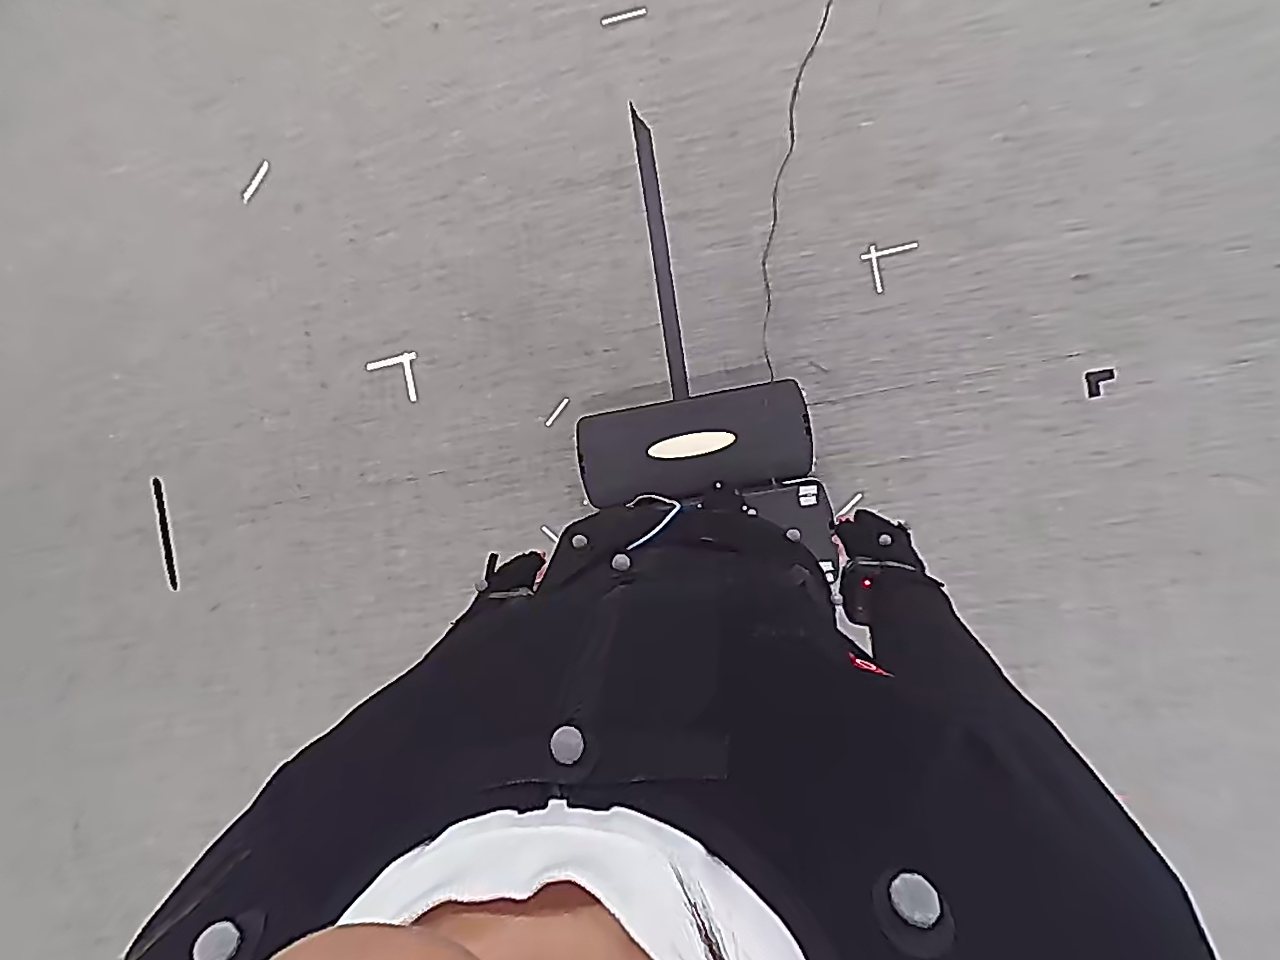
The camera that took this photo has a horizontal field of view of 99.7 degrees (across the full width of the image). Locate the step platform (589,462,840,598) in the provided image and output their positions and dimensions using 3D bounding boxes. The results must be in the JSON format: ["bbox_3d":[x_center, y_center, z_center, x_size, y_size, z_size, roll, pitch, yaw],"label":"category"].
[{"bbox_3d":[0.201,0.144,1.526,0.684,0.204,0.286,-10,88,9],"label":"step platform"}]
